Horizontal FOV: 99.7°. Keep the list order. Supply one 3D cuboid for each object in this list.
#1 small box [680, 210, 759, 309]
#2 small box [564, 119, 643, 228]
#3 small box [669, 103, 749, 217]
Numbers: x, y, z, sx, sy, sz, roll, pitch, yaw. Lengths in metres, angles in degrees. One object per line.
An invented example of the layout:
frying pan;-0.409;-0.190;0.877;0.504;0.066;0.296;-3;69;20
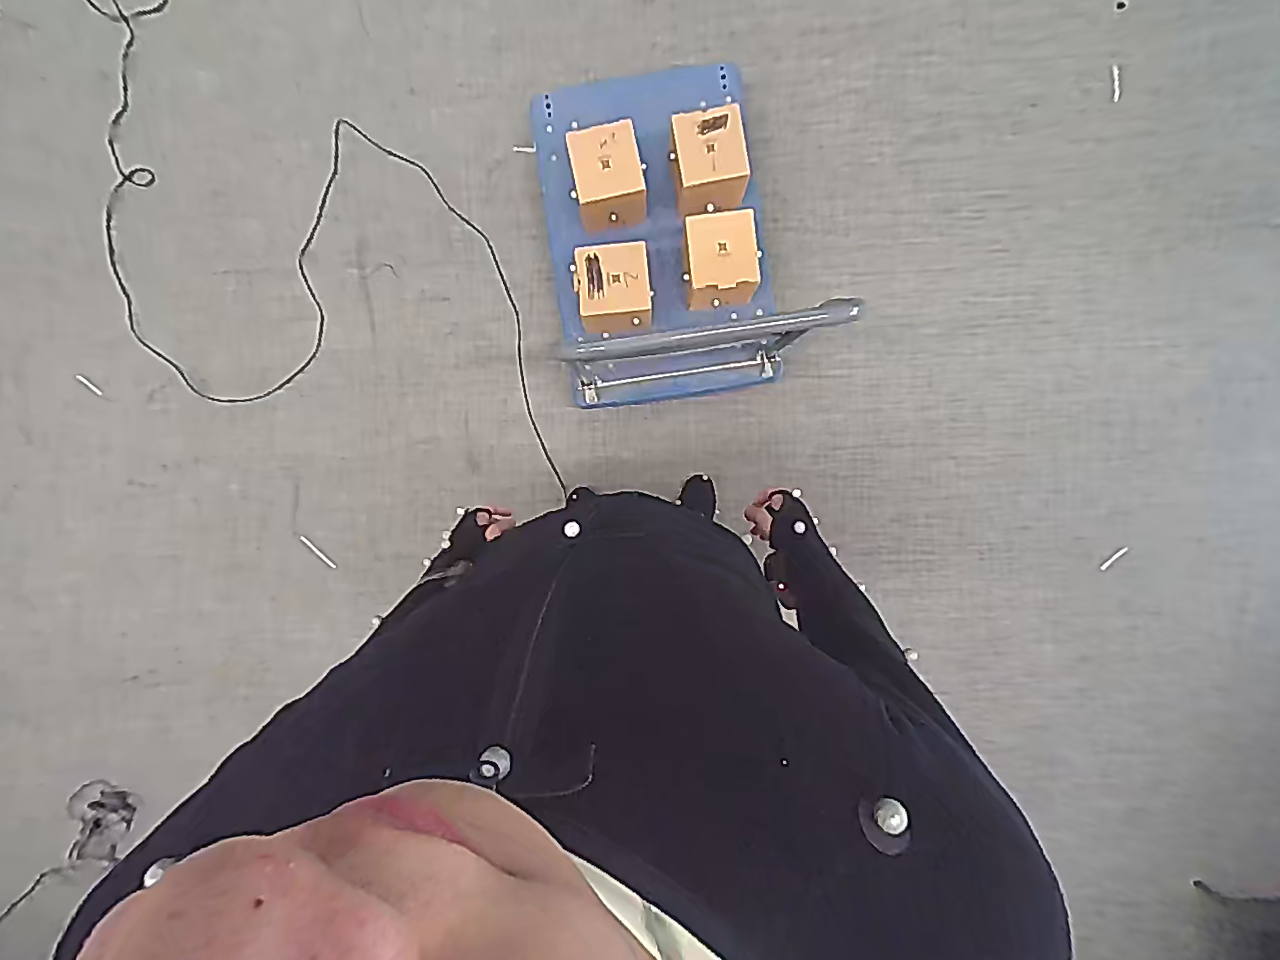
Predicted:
small box;0.196;-0.554;1.373;0.168;0.176;0.179;-6;90;1
small box;-0.086;-0.763;1.371;0.168;0.176;0.179;-12;91;0
small box;0.167;-0.801;1.366;0.168;0.176;0.179;-10;91;2
